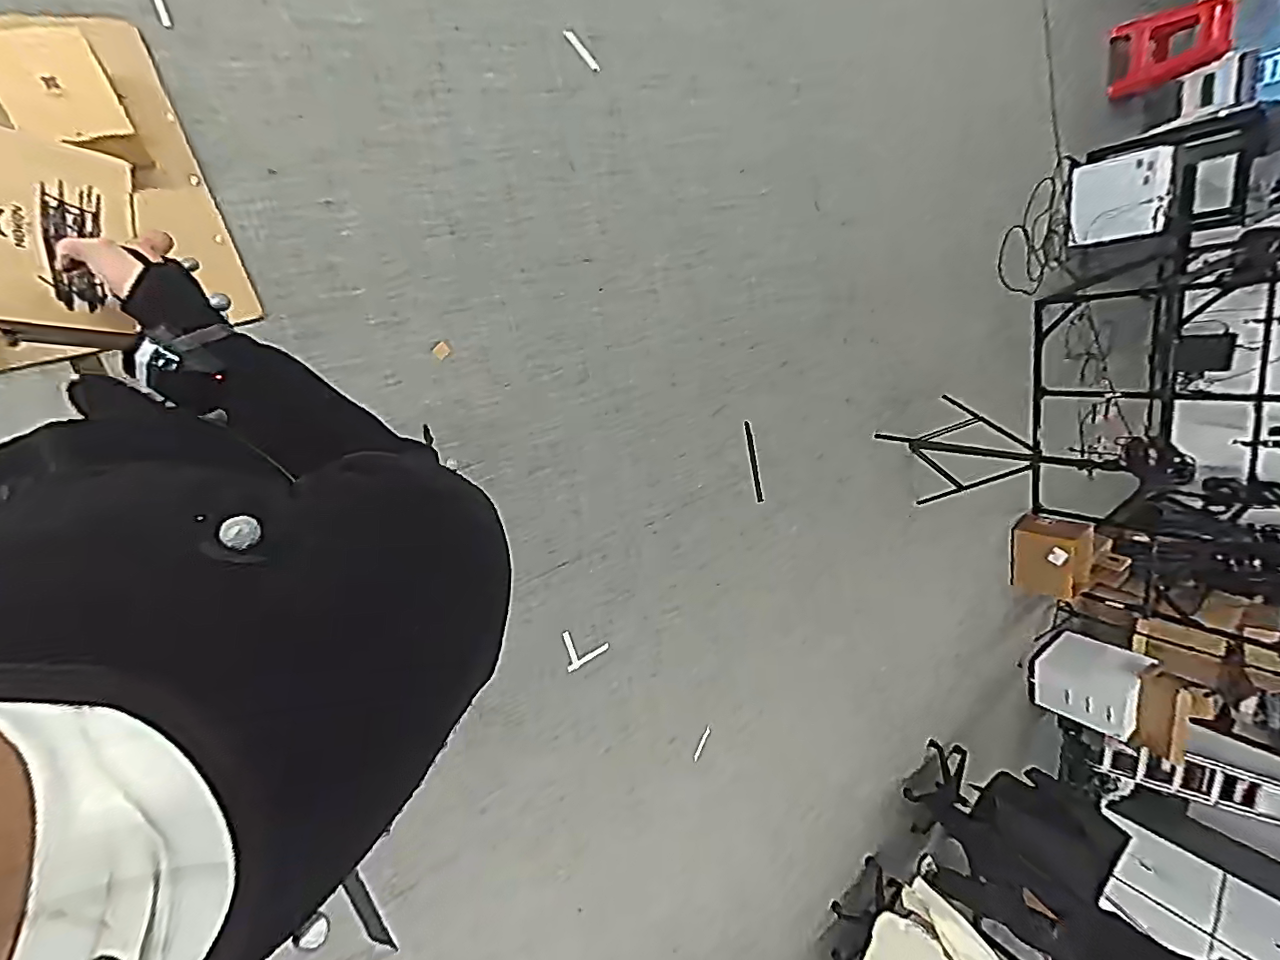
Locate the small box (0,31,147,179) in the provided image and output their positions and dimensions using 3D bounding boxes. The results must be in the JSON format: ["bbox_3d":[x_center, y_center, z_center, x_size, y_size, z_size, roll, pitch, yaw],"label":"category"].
[{"bbox_3d":[-1.096,-0.705,1.029,0.168,0.176,0.179,-28,113,-26],"label":"small box"}]
